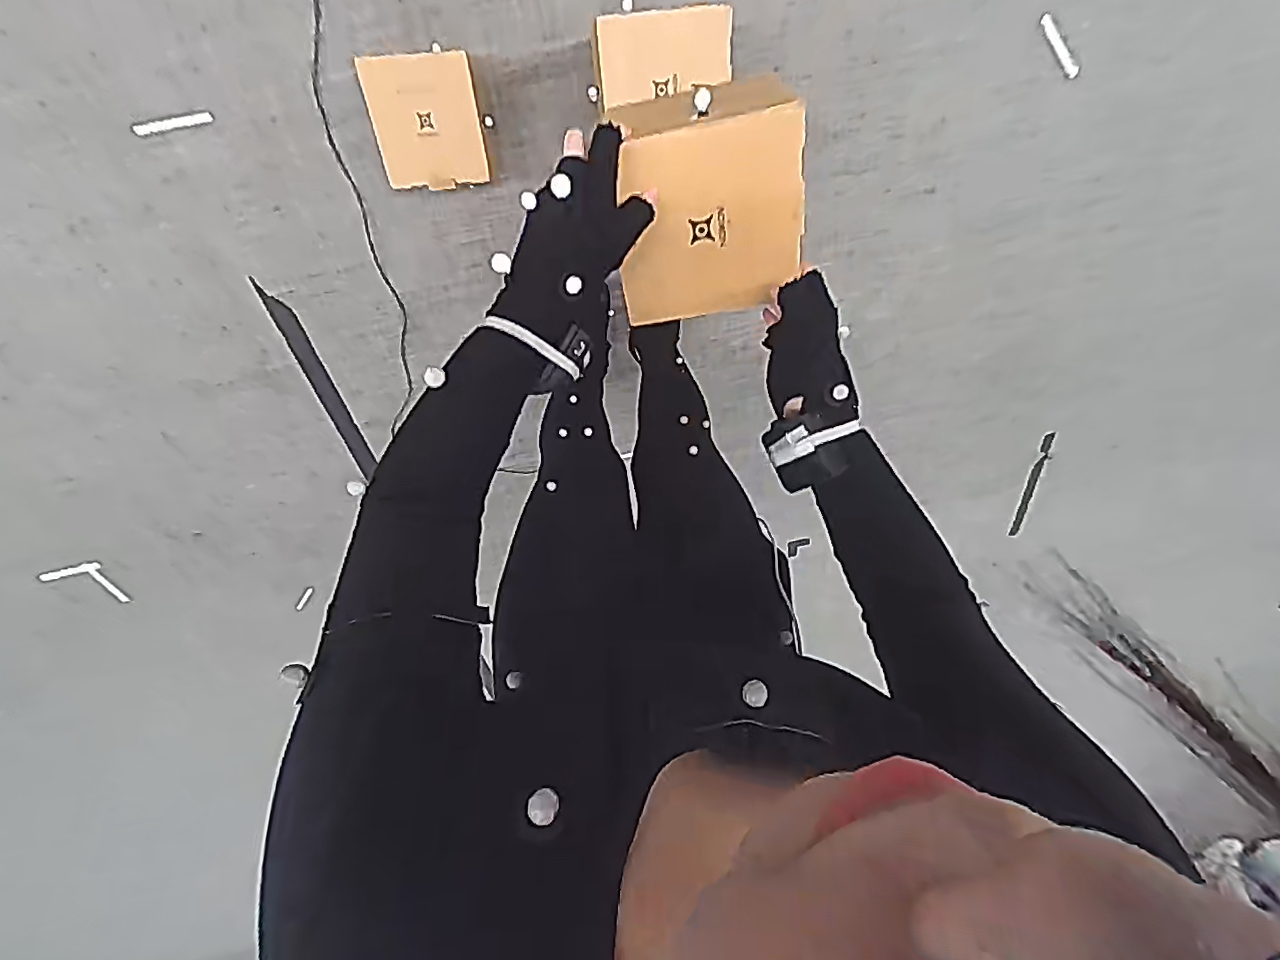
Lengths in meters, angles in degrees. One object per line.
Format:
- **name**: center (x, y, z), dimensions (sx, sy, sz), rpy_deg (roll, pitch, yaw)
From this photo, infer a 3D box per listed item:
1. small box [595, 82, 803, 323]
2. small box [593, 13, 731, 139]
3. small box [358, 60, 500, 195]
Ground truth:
- **small box**: center (0.061, -0.286, 0.558), dimensions (0.179, 0.176, 0.168), rpy_deg (-8, 133, 7)
- **small box**: center (0.025, -0.556, 0.785), dimensions (0.179, 0.176, 0.168), rpy_deg (-7, 126, -3)
- **small box**: center (-0.341, -0.597, 0.915), dimensions (0.168, 0.176, 0.179), rpy_deg (-6, 126, -4)
